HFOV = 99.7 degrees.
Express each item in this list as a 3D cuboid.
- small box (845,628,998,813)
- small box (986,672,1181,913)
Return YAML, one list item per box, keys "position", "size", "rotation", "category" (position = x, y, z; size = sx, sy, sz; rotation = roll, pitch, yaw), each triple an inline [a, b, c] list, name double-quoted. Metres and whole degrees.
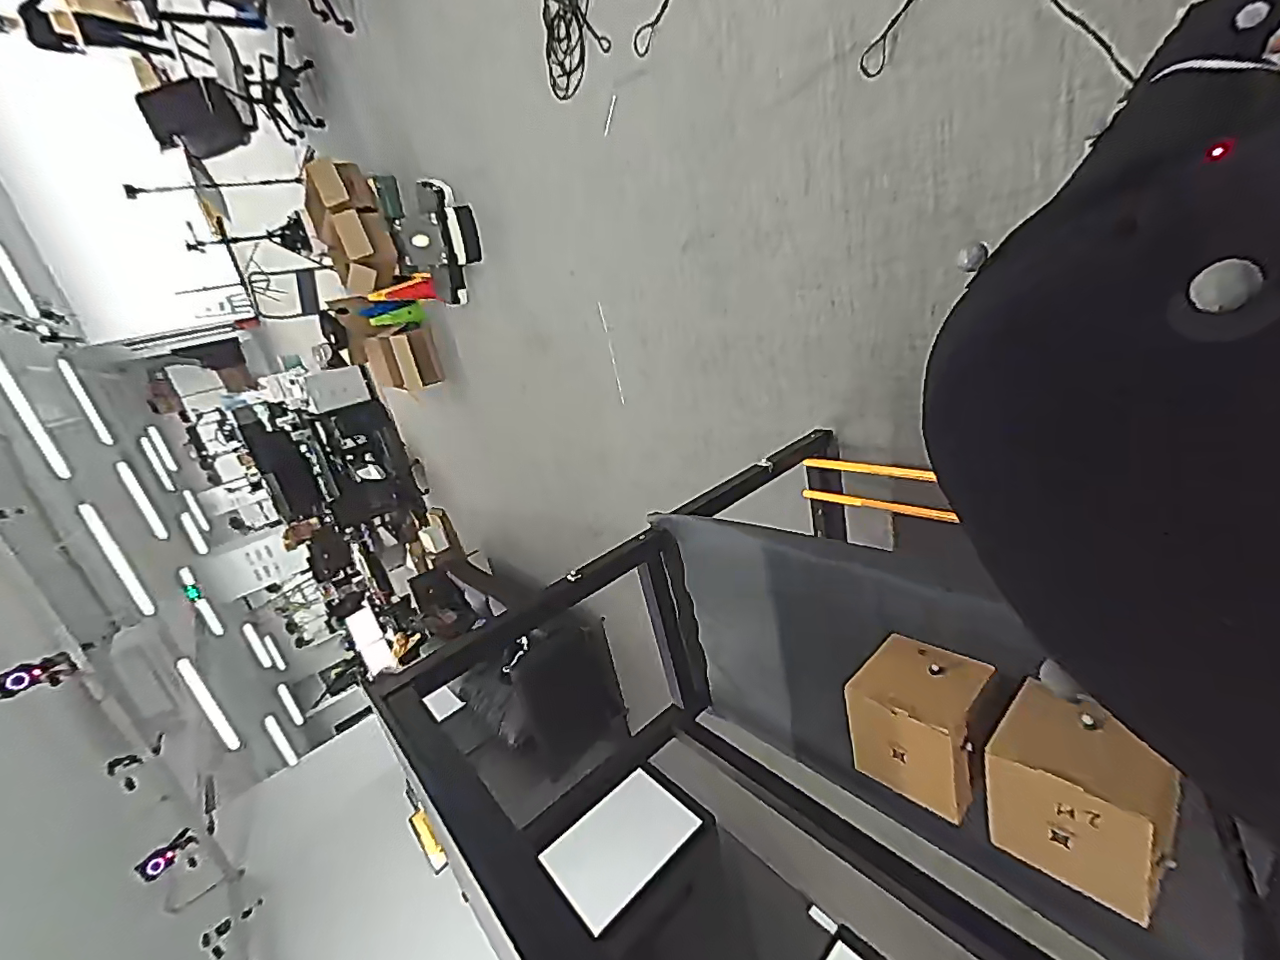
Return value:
- position: [0.460, 0.376, 0.877]
  size: [0.168, 0.176, 0.179]
  rotation: [8, 119, 50]
  category: "small box"
- position: [0.585, 0.396, 0.716]
  size: [0.168, 0.176, 0.179]
  rotation: [9, 119, 51]
  category: "small box"
